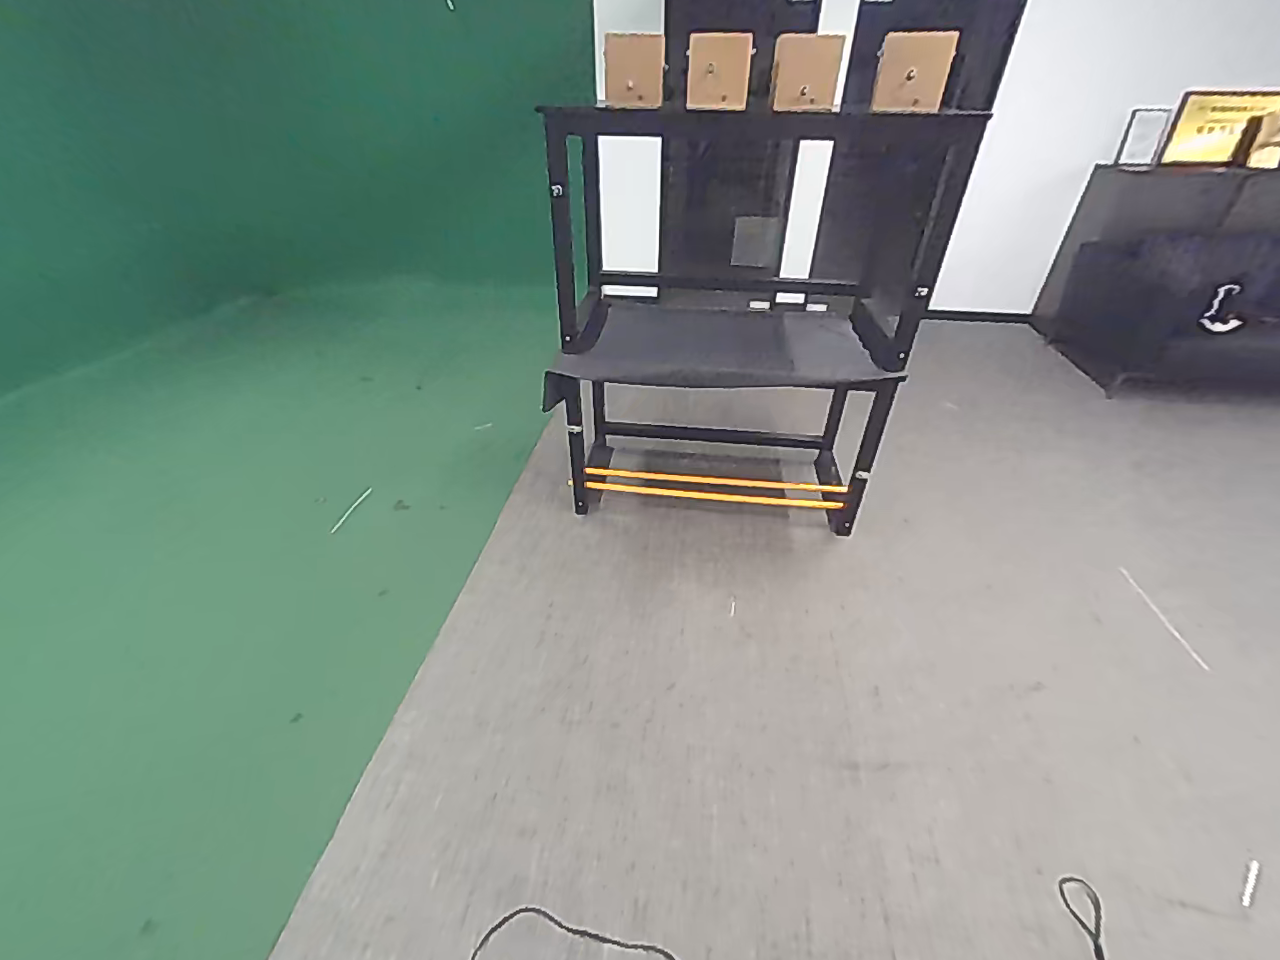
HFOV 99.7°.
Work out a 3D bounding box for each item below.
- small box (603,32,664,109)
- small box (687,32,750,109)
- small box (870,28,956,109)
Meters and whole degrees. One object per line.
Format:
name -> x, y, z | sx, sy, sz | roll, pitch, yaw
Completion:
small box -> -0.016, -1.198, 1.586 | 0.168, 0.176, 0.179 | 2, 37, 2
small box -> 0.225, -1.166, 1.547 | 0.168, 0.176, 0.179 | 6, 36, 7
small box -> 0.732, -1.112, 1.469 | 0.168, 0.176, 0.179 | 10, 37, 13
